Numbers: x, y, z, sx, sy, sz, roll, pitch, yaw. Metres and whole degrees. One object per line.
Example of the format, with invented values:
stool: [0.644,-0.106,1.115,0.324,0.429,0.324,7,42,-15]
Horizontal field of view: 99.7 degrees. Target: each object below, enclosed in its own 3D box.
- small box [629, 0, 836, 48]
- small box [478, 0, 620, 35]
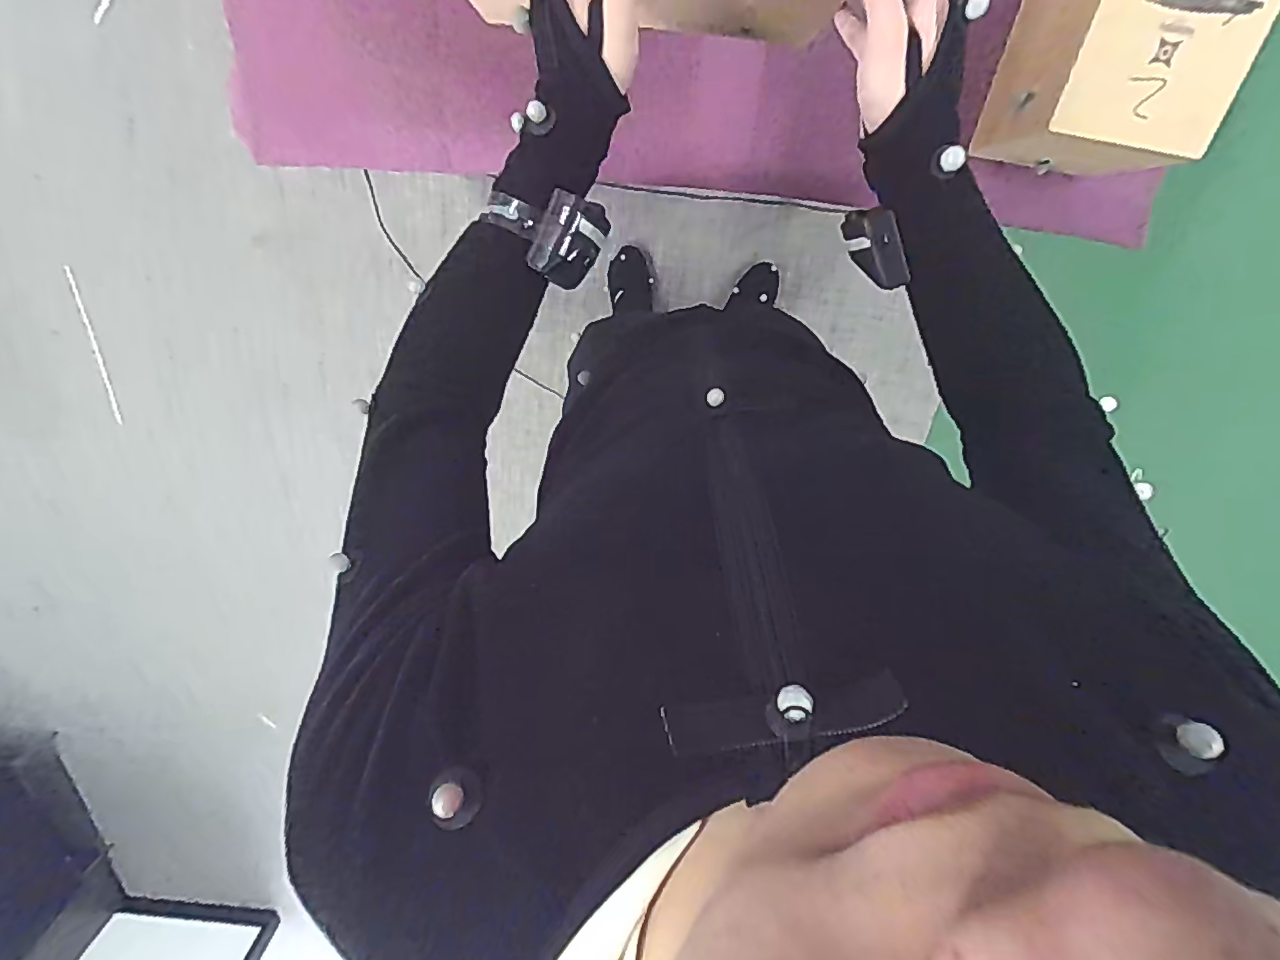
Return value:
small box: [0.075,-0.452,0.388,0.168,0.176,0.179,6,114,-1]
small box: [-0.105,-0.603,0.560,0.168,0.176,0.179,5,115,1]
